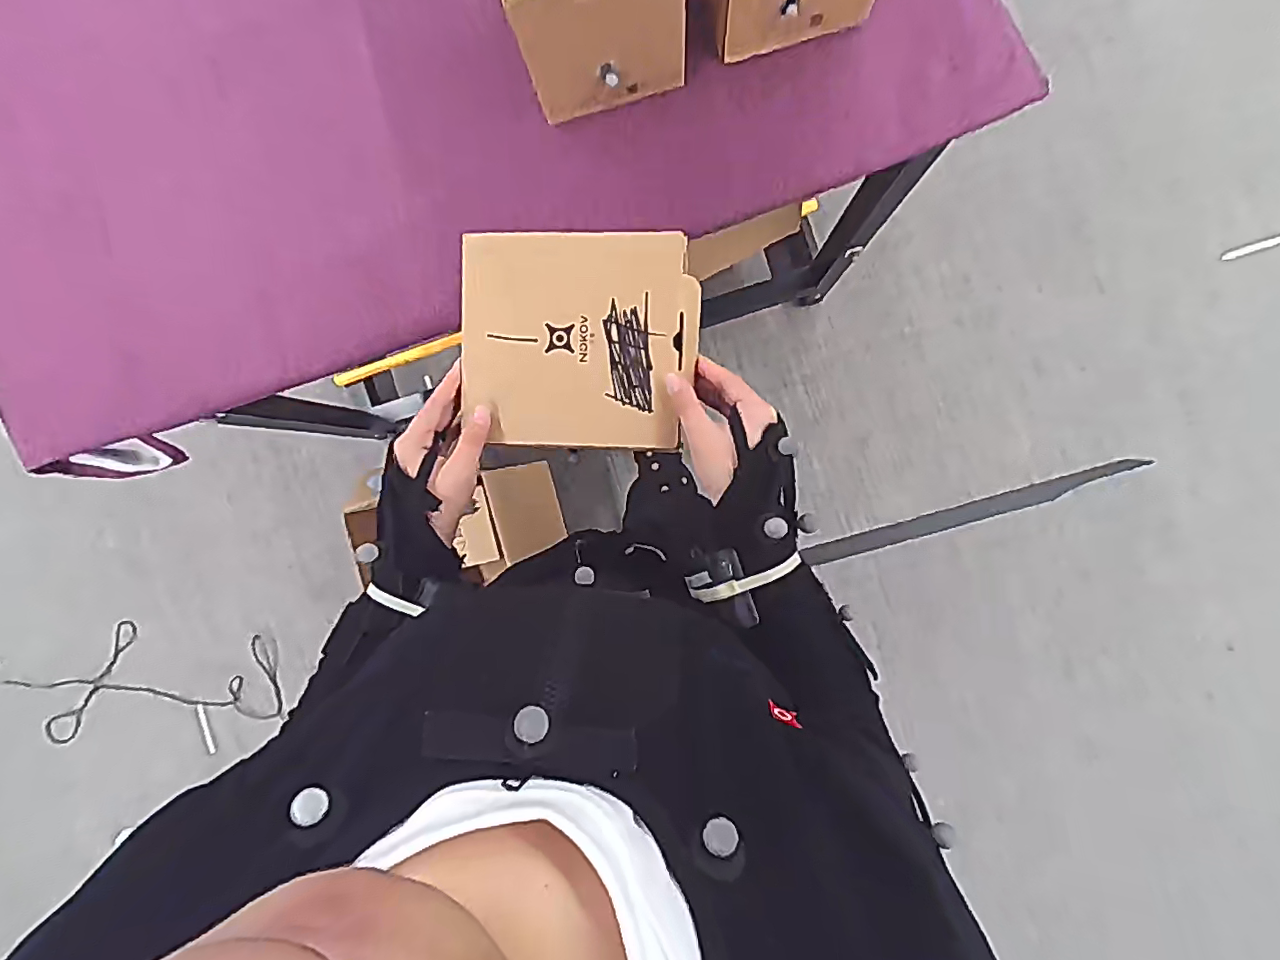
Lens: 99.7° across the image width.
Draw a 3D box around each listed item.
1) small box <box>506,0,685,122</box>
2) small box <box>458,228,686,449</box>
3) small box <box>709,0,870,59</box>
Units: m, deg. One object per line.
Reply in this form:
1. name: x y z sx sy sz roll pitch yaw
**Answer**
1. small box: -0.053 -0.517 0.549 0.168 0.176 0.179 -14 89 4
2. small box: -0.050 -0.114 0.498 0.179 0.176 0.168 2 92 4
3. small box: 0.148 -0.578 0.534 0.168 0.176 0.179 -14 89 5
